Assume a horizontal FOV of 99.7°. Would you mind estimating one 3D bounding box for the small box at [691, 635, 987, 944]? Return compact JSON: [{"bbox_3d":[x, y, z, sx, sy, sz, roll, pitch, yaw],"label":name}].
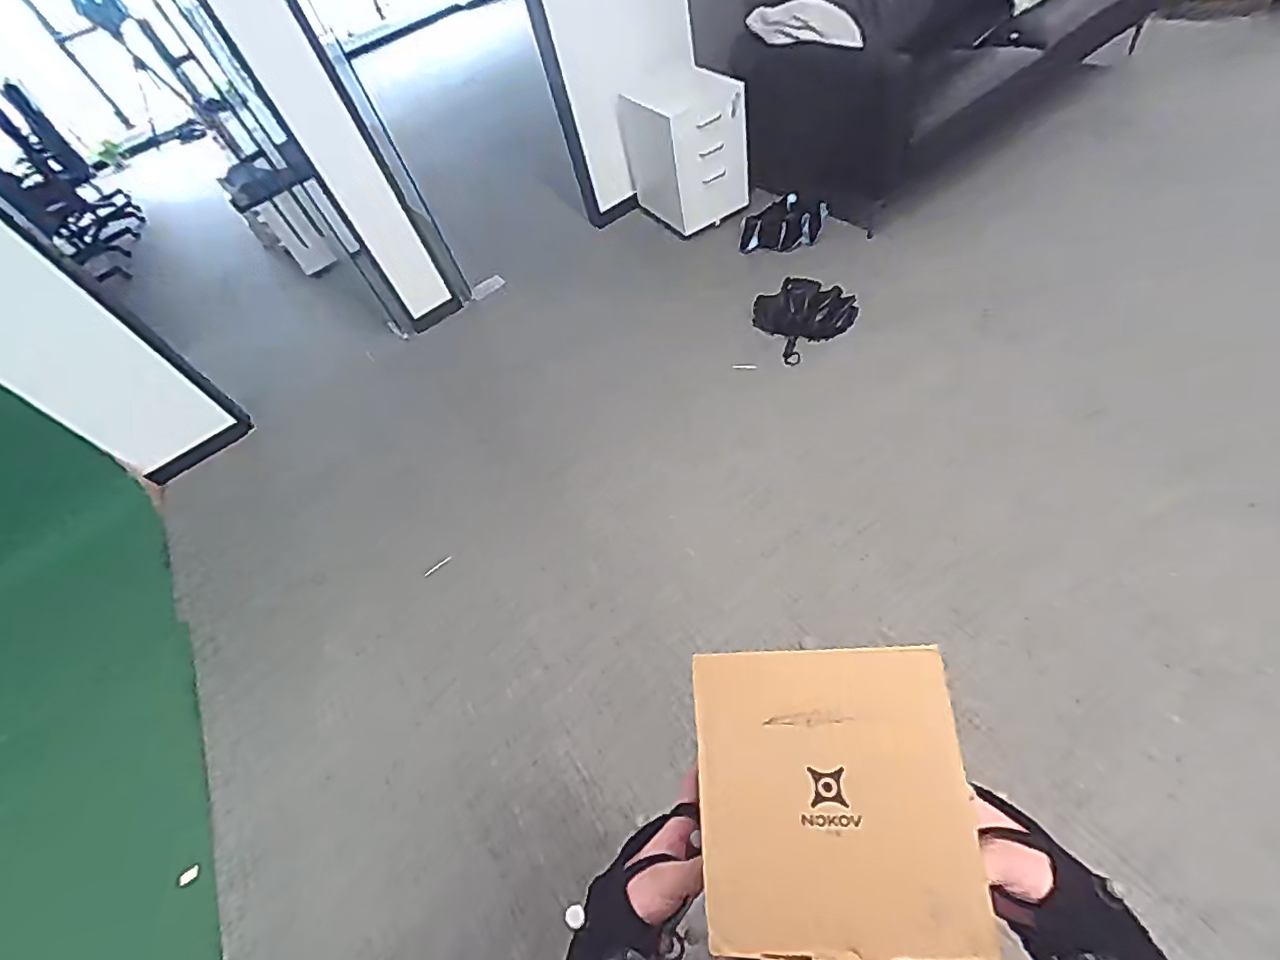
[{"bbox_3d":[0.134,0.220,0.427,0.168,0.176,0.179,-6,69,9],"label":"small box"}]
